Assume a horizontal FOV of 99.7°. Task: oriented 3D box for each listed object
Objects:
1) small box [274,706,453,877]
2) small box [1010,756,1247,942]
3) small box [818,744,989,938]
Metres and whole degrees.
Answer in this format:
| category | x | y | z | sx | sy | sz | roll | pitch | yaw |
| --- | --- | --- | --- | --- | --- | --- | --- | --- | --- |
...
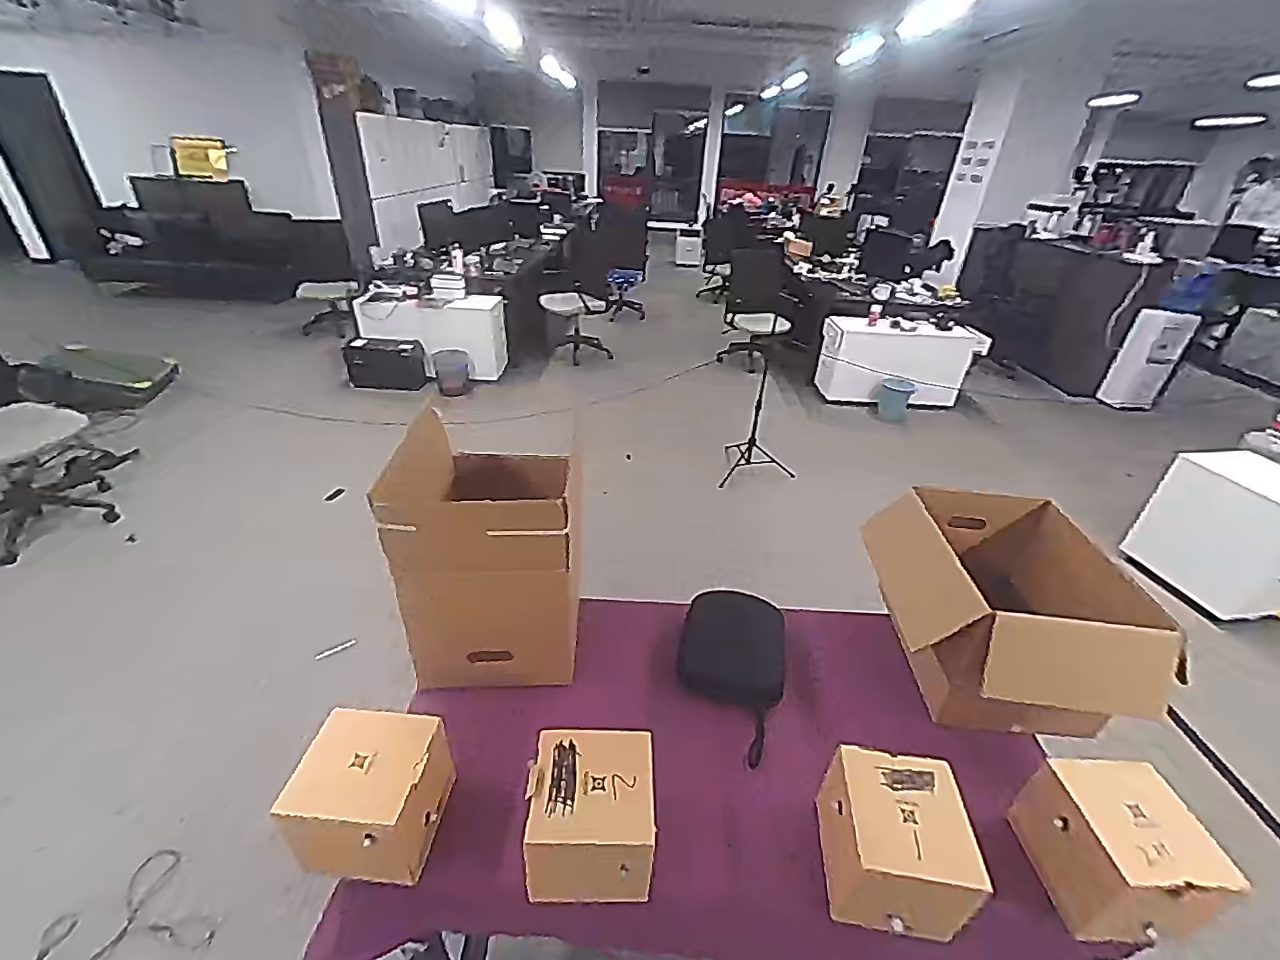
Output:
| category | x | y | z | sx | sy | sz | roll | pitch | yaw |
| --- | --- | --- | --- | --- | --- | --- | --- | --- | --- |
| small box | -0.407 | 0.477 | 0.831 | 0.179 | 0.176 | 0.168 | 5 | 31 | 1 |
| small box | 0.708 | 0.550 | 0.815 | 0.168 | 0.176 | 0.179 | 2 | 31 | 0 |
| small box | 0.374 | 0.536 | 0.811 | 0.168 | 0.176 | 0.179 | 7 | 33 | 6 |
